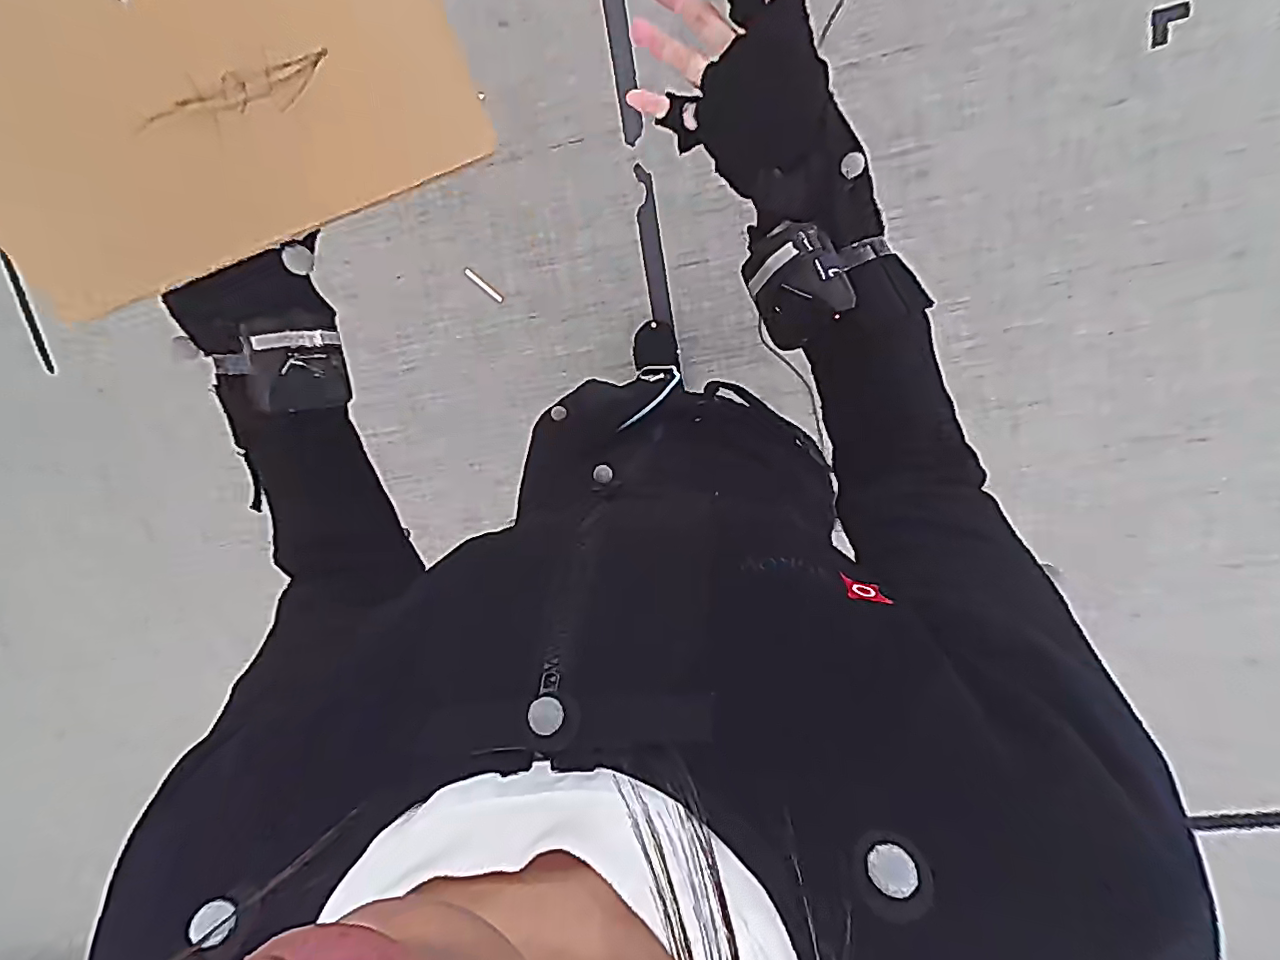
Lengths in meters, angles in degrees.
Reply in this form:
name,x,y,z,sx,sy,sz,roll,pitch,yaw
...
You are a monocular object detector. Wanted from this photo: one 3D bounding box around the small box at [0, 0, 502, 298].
name,x,y,z,sx,sy,sz,roll,pitch,yaw
small box,-0.189,-0.199,0.233,0.168,0.176,0.179,-31,124,-14
